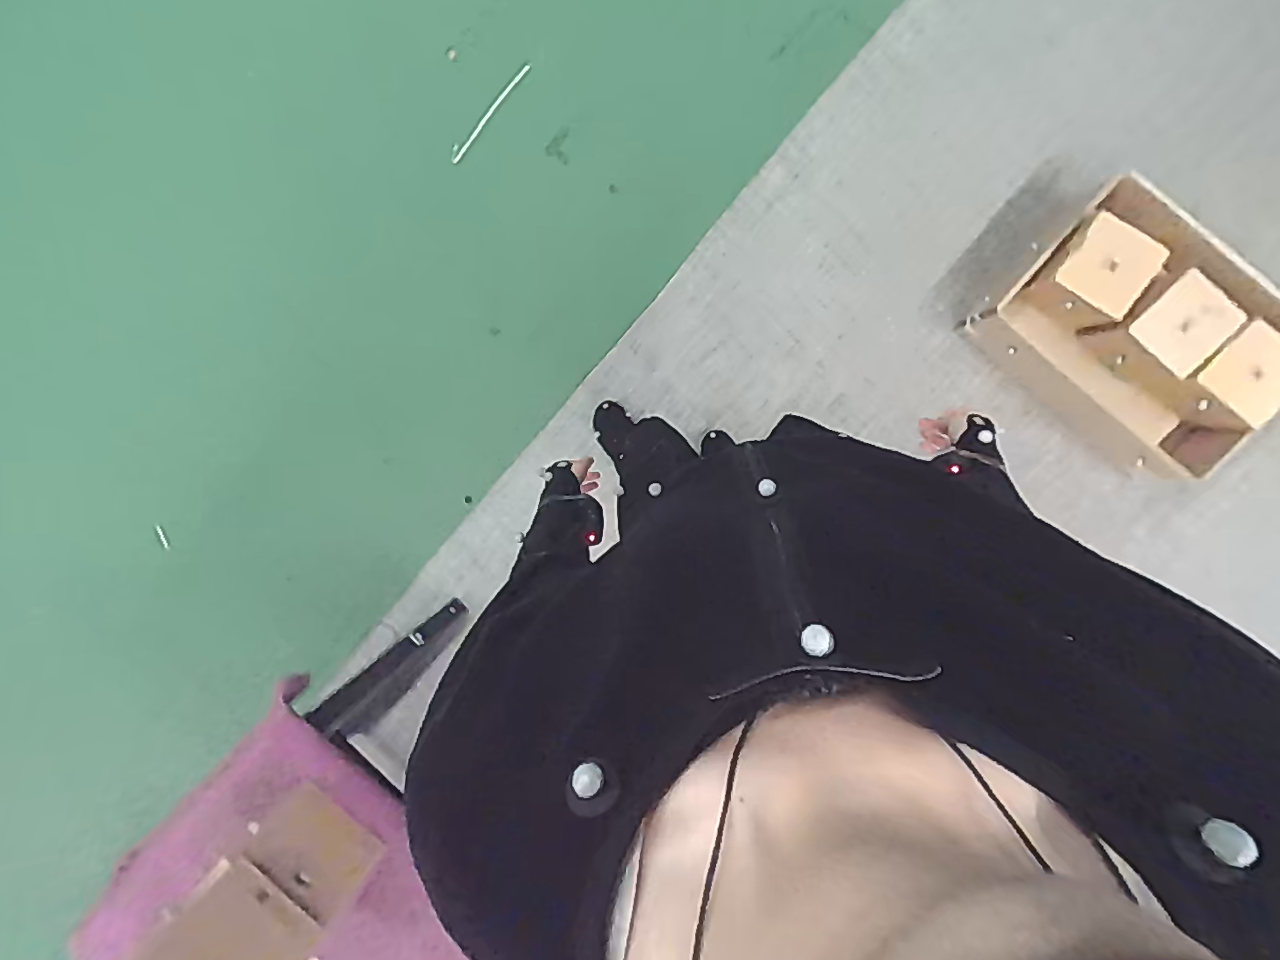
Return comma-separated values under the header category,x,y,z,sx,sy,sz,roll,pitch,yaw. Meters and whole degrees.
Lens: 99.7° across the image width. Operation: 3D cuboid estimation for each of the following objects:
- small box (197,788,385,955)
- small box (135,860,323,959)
category,x,y,z,sx,sy,sz,roll,pitch,yaw
small box,-0.534,0.621,0.823,0.179,0.176,0.168,41,98,0
small box,-0.537,0.627,0.658,0.168,0.176,0.179,43,99,-1
